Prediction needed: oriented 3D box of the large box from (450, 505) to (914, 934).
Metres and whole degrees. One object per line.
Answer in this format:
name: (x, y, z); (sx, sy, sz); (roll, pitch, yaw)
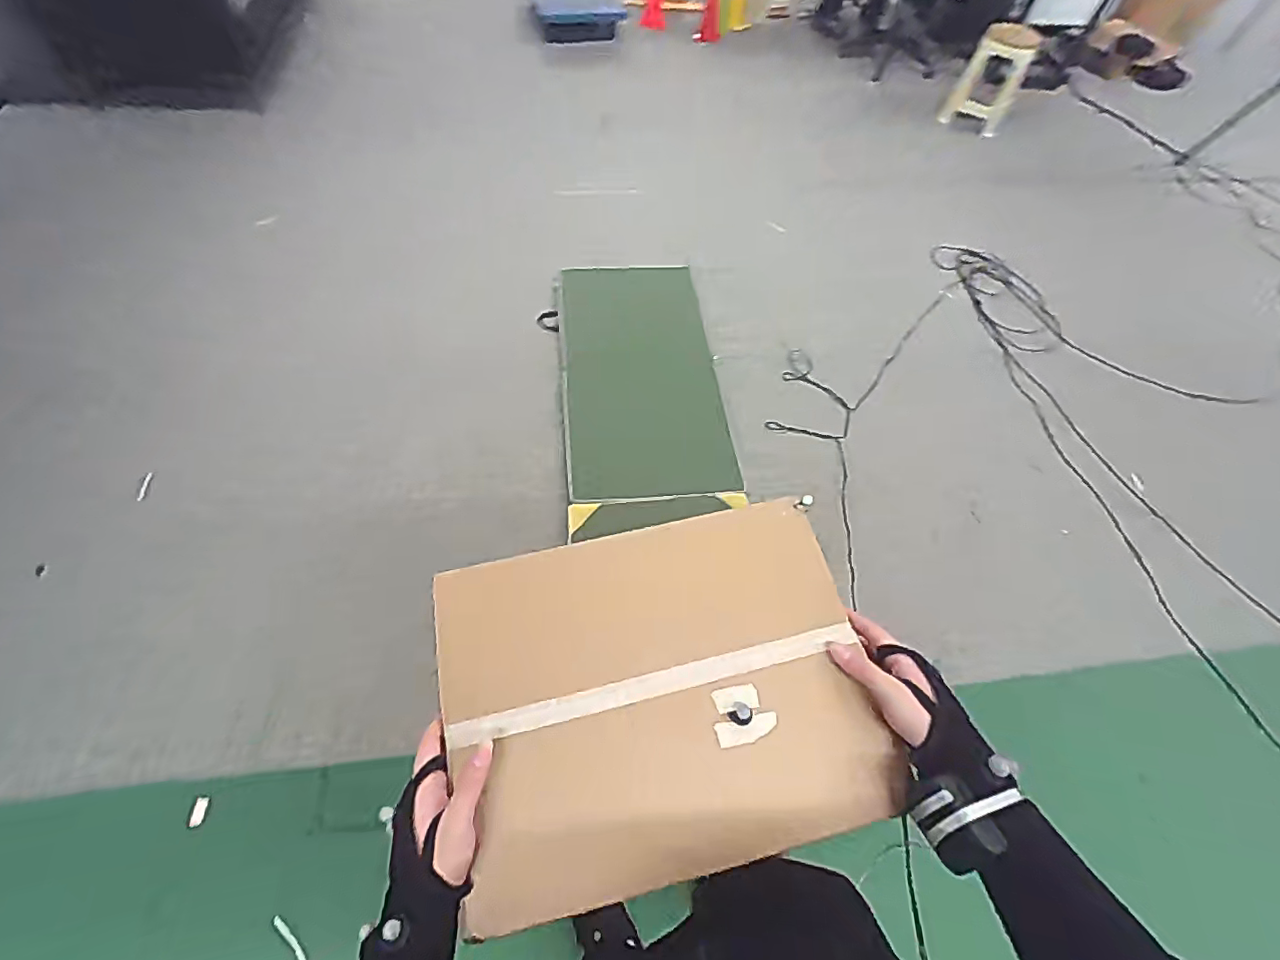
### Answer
large box: (0.020, 0.269, 0.664); (0.408, 0.320, 0.320); (-11, 64, -8)
